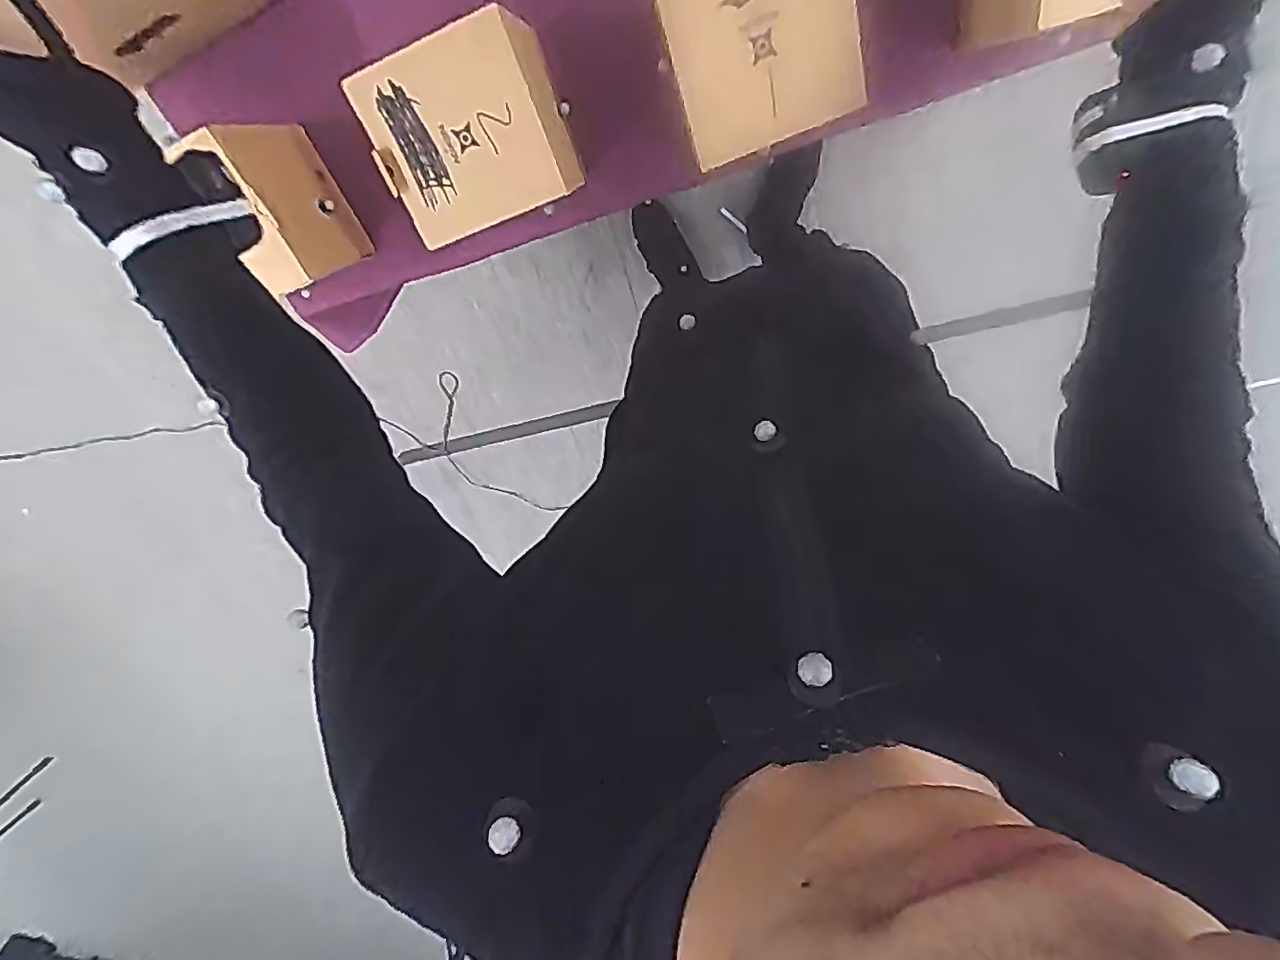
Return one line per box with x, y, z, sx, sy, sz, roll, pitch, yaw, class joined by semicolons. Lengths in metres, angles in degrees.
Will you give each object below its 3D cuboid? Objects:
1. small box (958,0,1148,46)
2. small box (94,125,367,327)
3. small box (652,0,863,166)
0.408;-0.523;0.481;0.168;0.176;0.179;-8;122;10;small box
-0.491;-0.319;0.680;0.179;0.176;0.168;-17;121;13;small box
0.111;-0.448;0.553;0.168;0.176;0.179;-15;122;14;small box
